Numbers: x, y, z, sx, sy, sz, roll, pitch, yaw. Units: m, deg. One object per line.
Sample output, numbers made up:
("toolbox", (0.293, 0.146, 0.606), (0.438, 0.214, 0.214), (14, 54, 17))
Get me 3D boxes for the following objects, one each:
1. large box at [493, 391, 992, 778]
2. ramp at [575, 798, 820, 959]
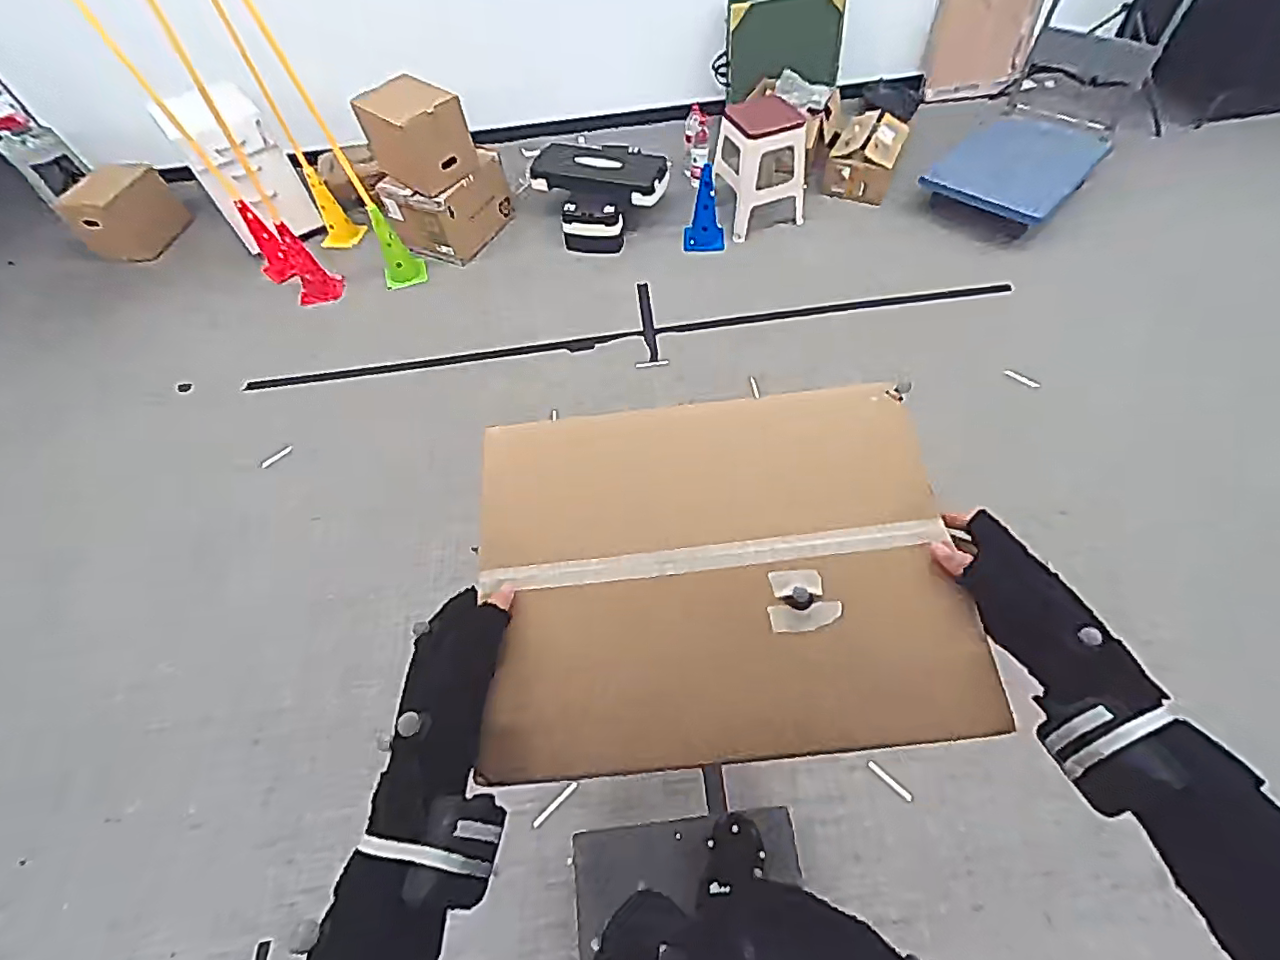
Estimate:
("large box", (0.072, 0.135, 0.619), (0.408, 0.320, 0.320), (-7, 65, 1))
("ramp", (0.156, 1.205, 1.033), (0.509, 0.206, 0.991), (-8, 57, -2))
